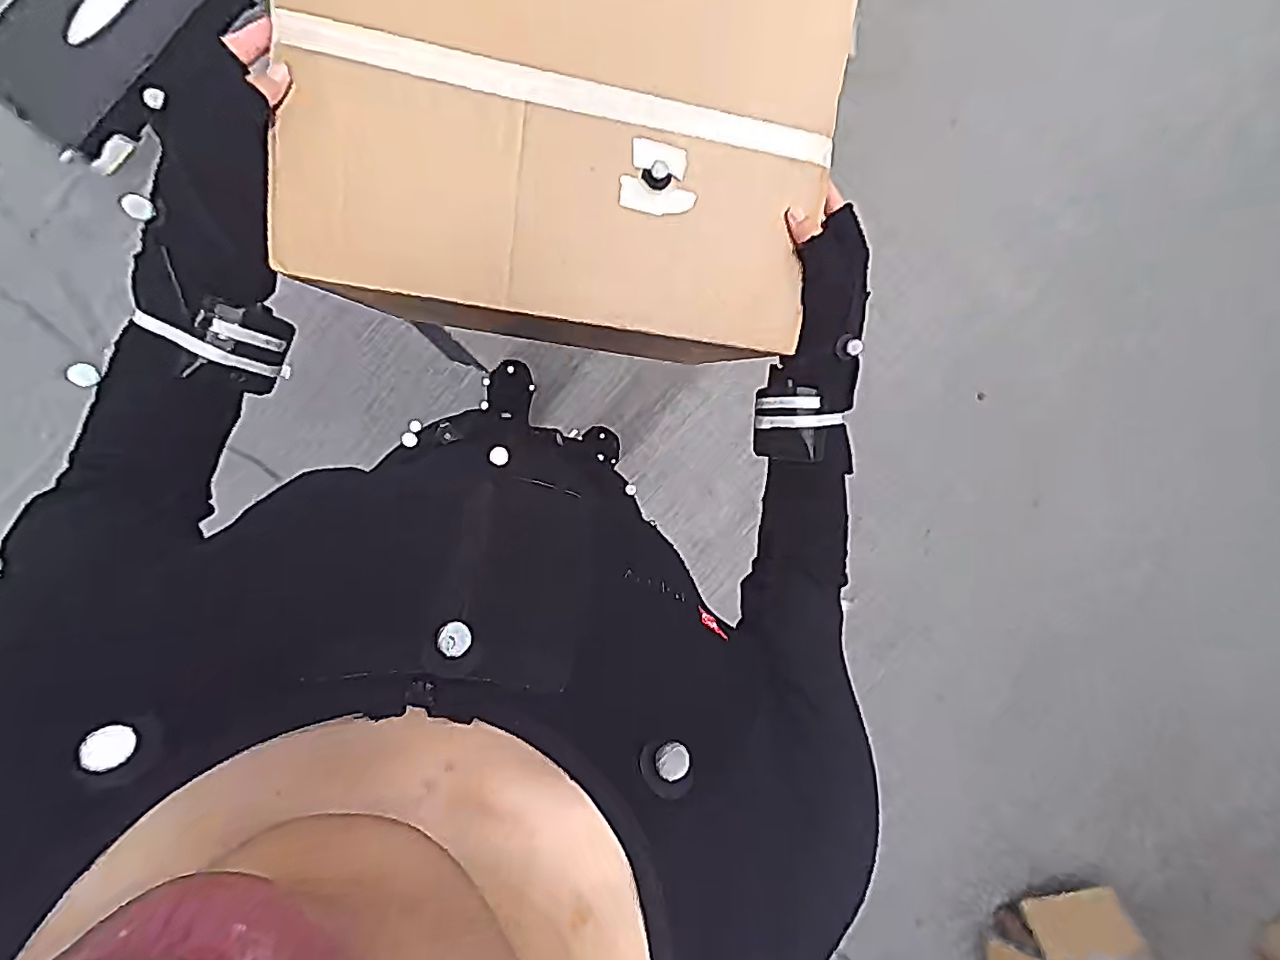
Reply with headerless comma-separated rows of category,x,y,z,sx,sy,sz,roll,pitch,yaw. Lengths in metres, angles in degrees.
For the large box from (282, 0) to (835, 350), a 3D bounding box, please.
large box,-0.076,-0.317,0.550,0.408,0.320,0.320,5,100,-10
